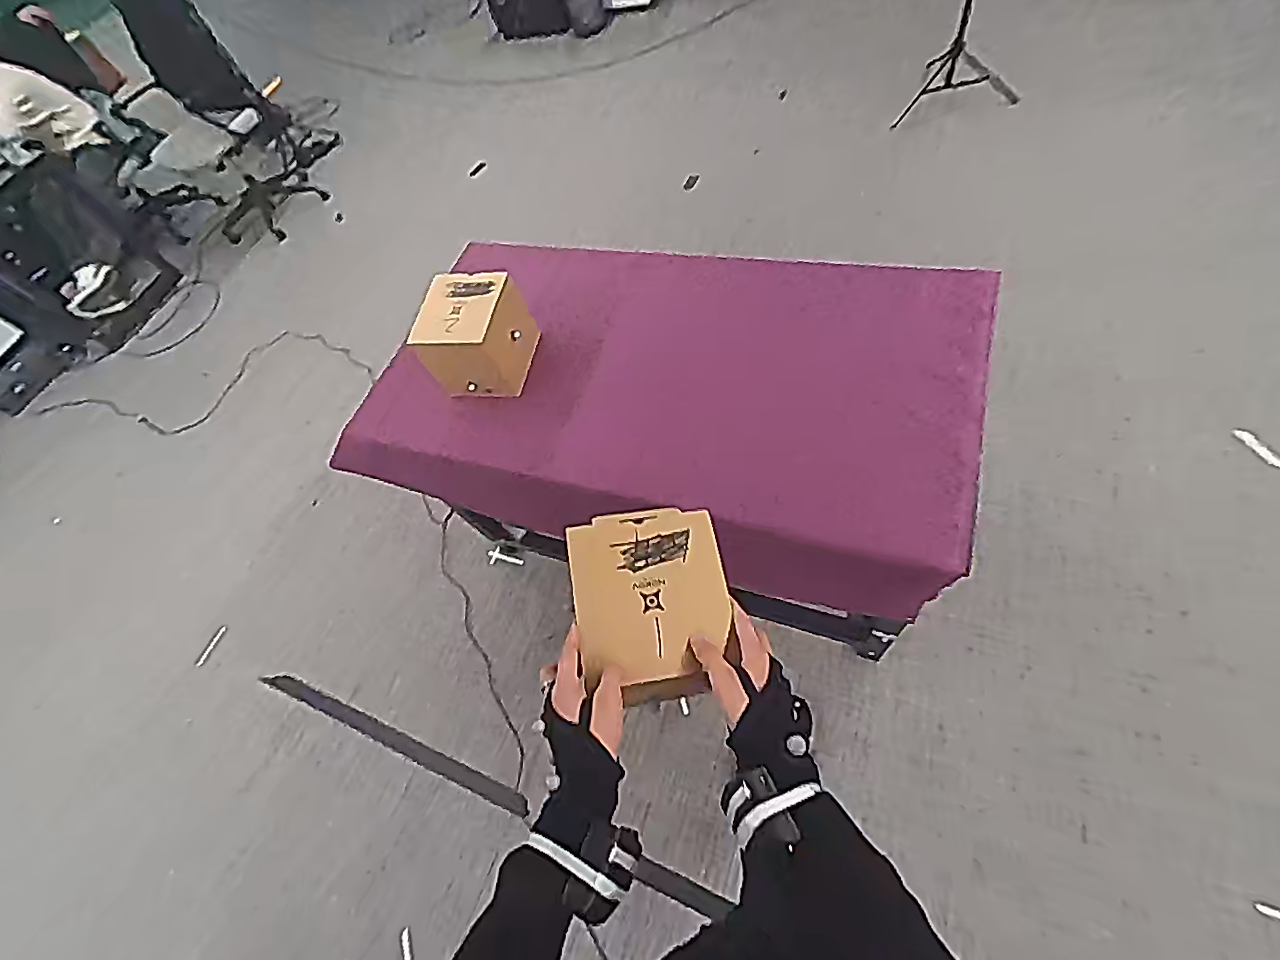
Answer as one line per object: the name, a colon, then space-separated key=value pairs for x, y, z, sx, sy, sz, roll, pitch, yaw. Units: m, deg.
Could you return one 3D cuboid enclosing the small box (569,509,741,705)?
small box: x=0.005 y=0.157 z=0.655 sx=0.168 sy=0.176 sz=0.179 roll=-7 pitch=61 yaw=-8
